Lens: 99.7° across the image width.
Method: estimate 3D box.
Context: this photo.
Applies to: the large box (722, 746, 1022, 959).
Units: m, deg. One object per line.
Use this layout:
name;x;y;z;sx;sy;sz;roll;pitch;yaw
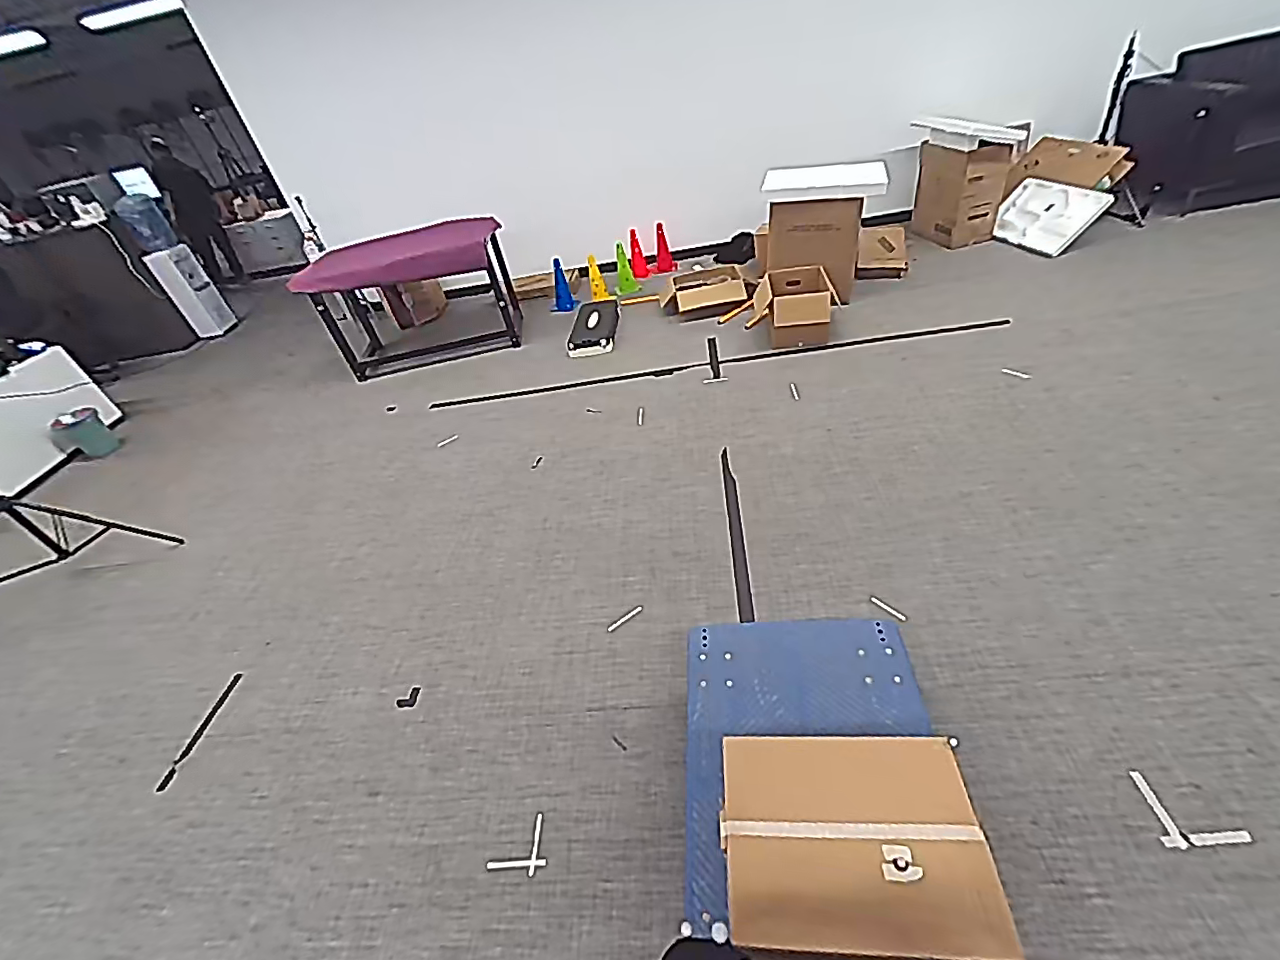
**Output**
large box;0.363;0.704;0.972;0.408;0.320;0.320;-4;40;9
